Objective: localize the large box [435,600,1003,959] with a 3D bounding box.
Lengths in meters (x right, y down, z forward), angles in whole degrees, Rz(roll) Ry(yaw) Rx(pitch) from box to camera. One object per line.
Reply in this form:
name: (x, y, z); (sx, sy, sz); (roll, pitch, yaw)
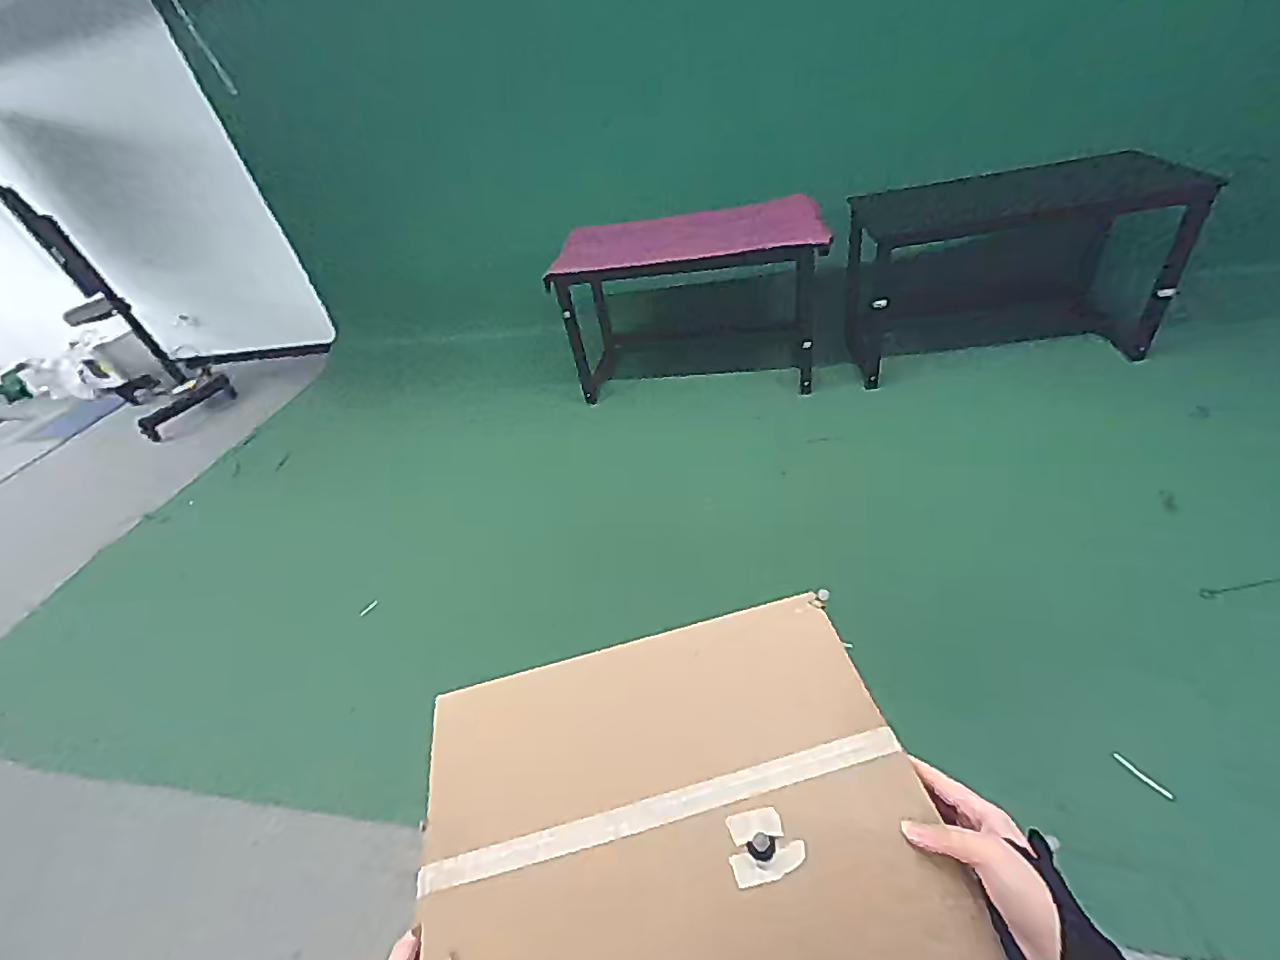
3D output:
large box: (0.044, 0.383, 0.559); (0.408, 0.320, 0.320); (-14, 44, -4)
